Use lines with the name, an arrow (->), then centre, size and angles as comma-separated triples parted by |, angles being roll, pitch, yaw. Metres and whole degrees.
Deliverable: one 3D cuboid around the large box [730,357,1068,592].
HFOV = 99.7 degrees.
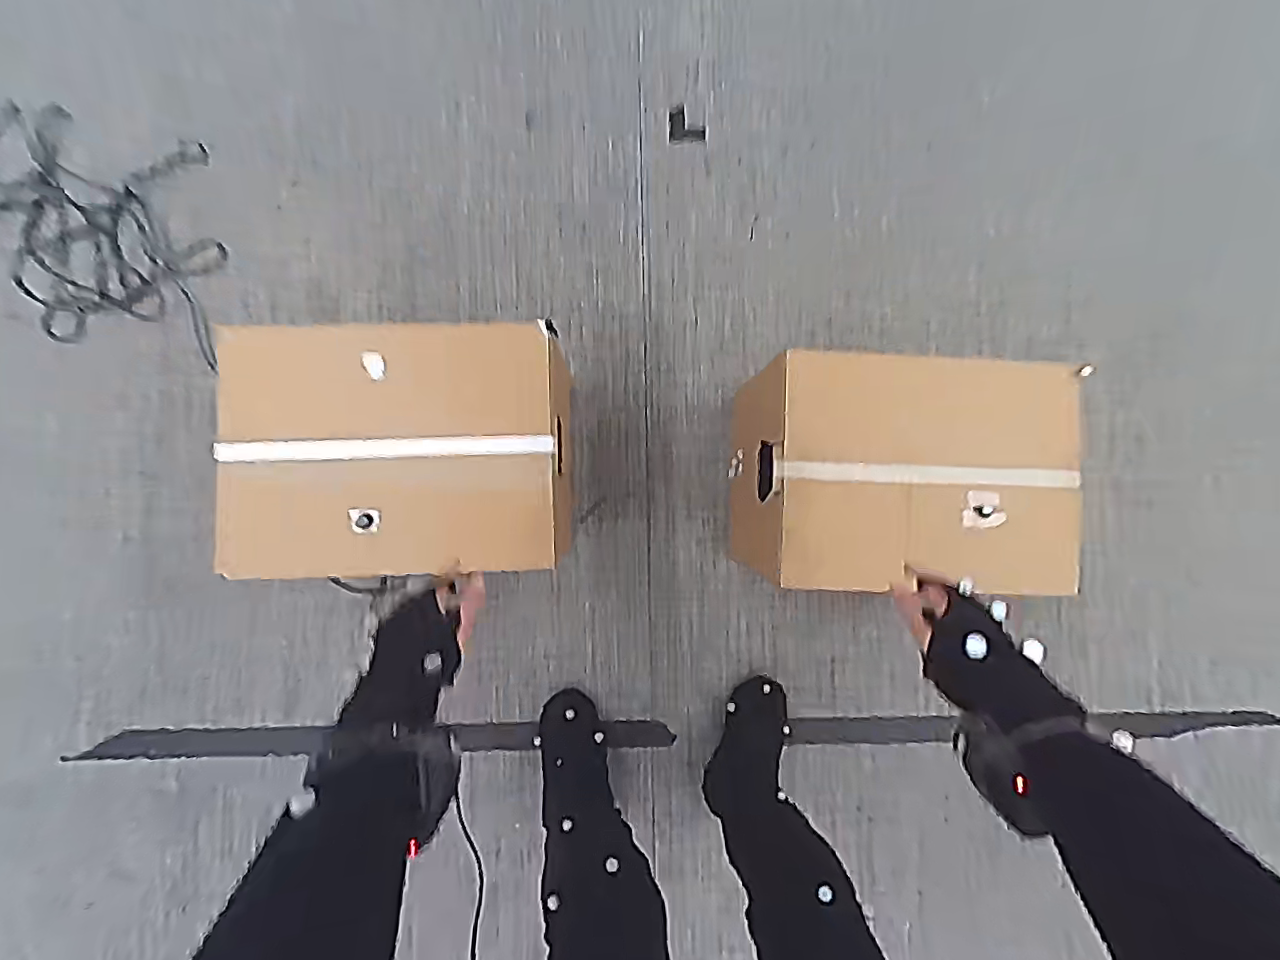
large box -> 0.376, 0.002, 0.879 | 0.408, 0.320, 0.320 | 3, 88, -4
